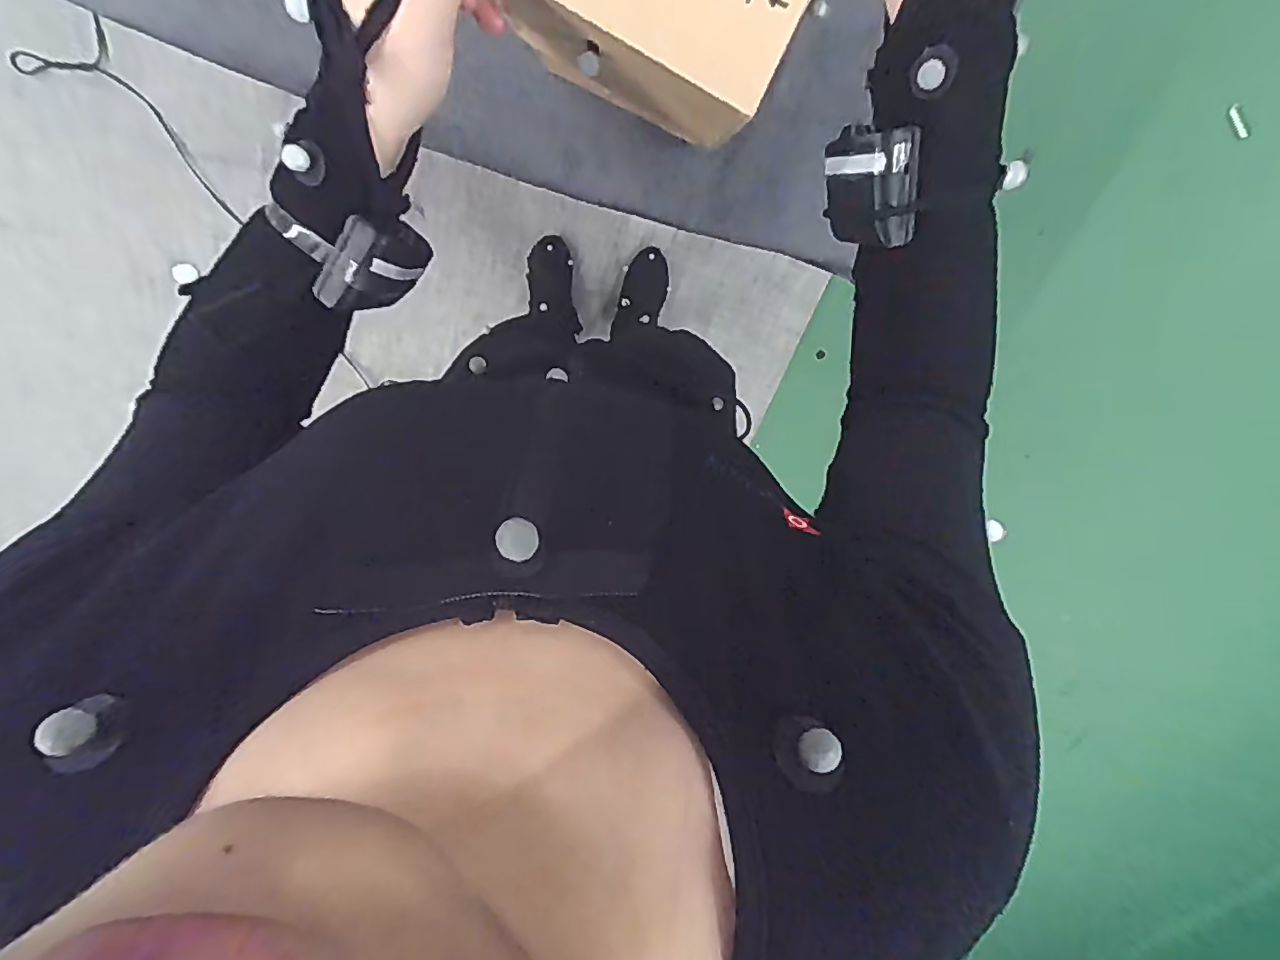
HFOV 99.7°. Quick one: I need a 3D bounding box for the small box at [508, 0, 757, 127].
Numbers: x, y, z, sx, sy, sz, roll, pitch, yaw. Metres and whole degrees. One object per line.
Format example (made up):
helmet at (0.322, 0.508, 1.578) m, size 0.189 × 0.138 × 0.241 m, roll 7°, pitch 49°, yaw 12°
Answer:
small box at (0.009, -0.424, 0.451) m, size 0.179 × 0.176 × 0.168 m, roll 21°, pitch 115°, yaw -11°
